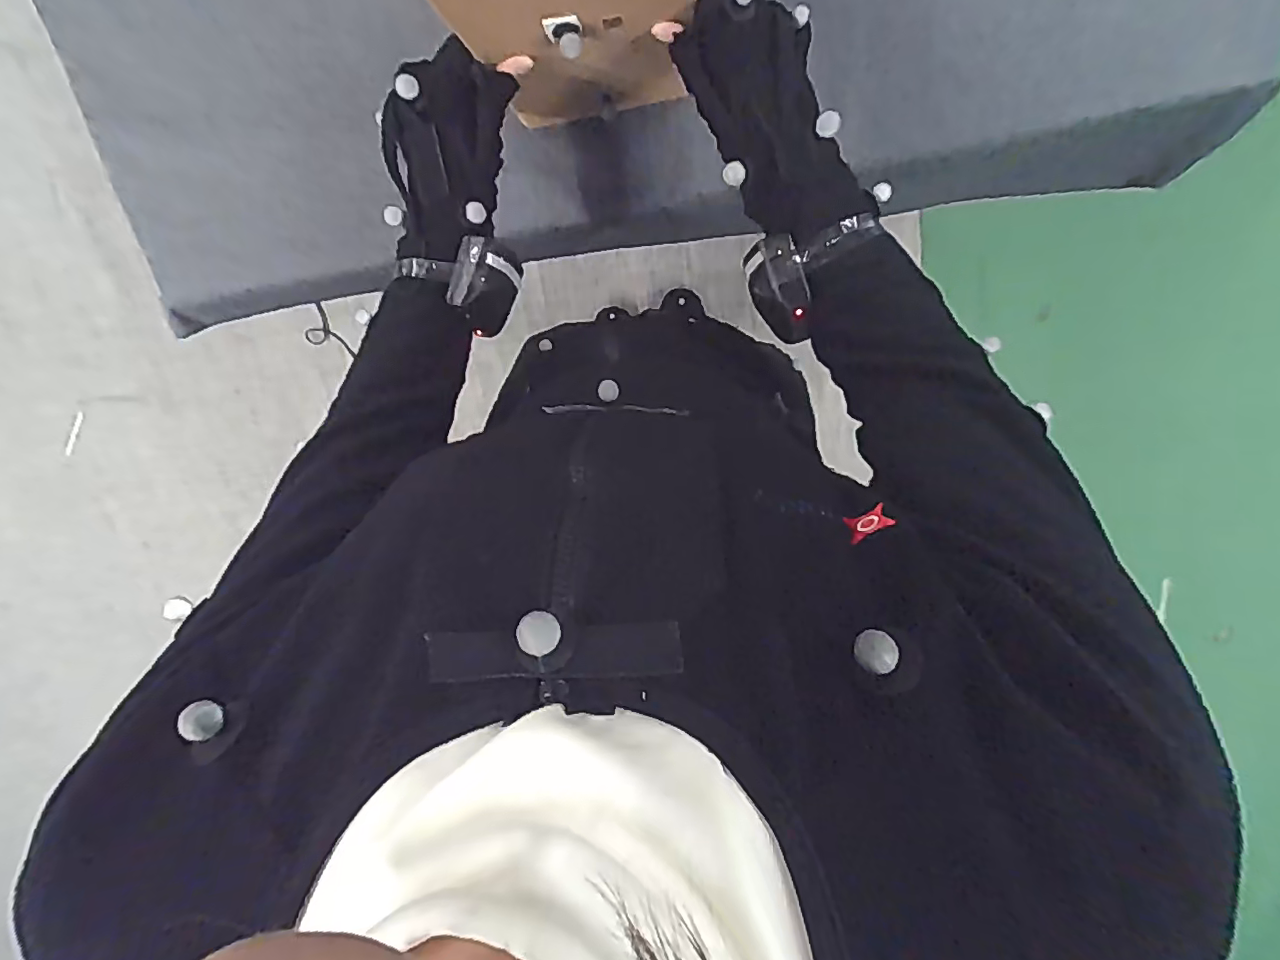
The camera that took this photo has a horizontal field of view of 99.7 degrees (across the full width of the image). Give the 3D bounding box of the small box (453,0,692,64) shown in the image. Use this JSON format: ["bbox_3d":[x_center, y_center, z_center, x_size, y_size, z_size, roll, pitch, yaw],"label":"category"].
[{"bbox_3d":[-0.059,-0.387,0.307,0.168,0.176,0.179,-10,109,7],"label":"small box"}]

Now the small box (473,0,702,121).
[{"bbox_3d":[-0.051,-0.438,0.462,0.179,0.176,0.168,-9,107,4],"label":"small box"}]
